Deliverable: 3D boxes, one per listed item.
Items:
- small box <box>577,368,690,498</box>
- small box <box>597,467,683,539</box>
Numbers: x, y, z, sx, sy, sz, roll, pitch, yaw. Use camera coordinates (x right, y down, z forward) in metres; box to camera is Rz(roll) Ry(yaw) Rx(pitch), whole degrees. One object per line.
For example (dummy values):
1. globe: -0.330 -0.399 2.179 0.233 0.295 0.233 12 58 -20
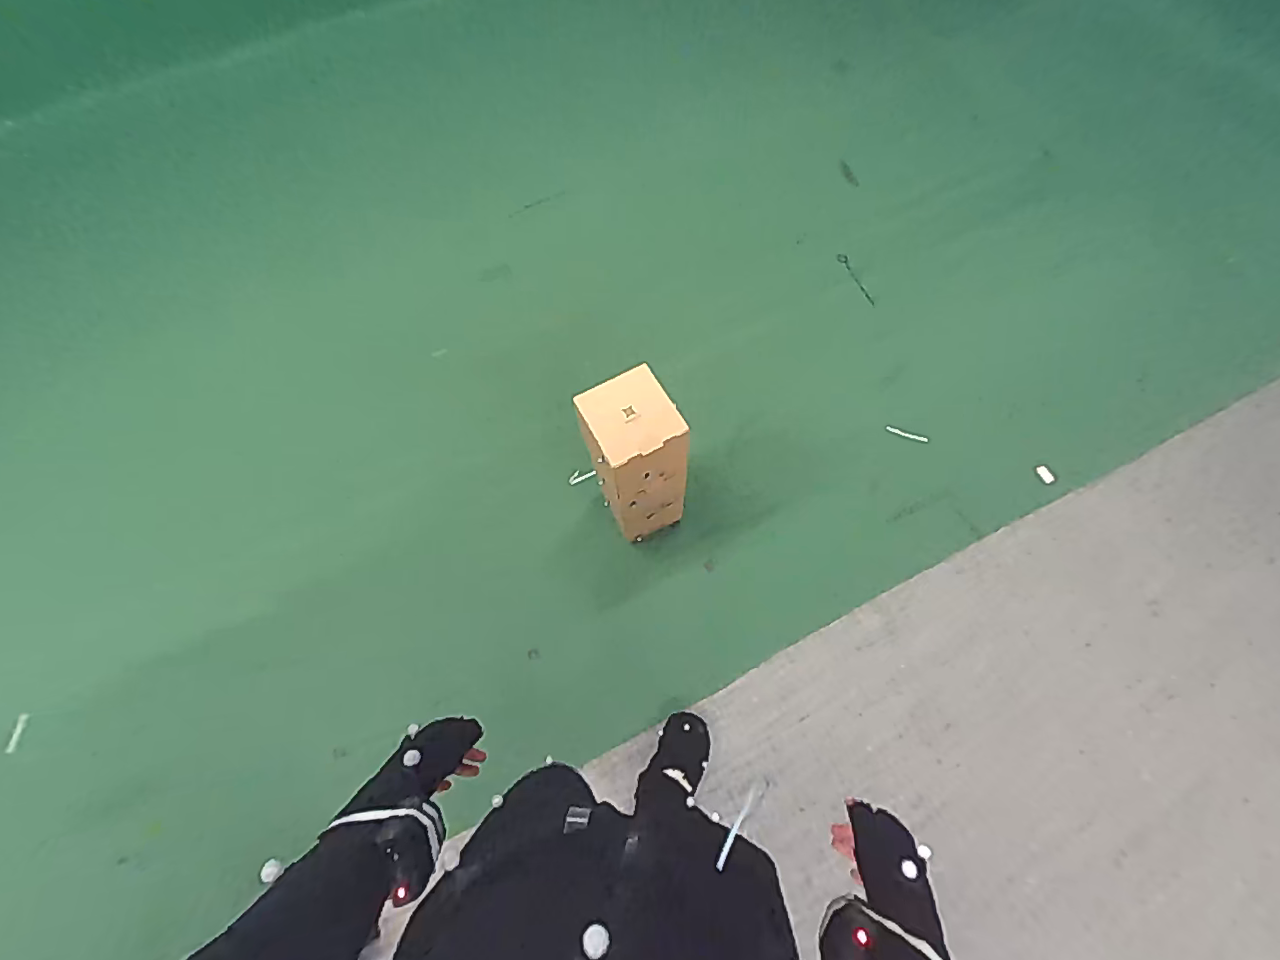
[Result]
1. small box: -0.014 -0.092 1.115 0.168 0.176 0.179 -27 69 -10
2. small box: 0.003 0.039 1.415 0.168 0.176 0.179 -24 68 -9
